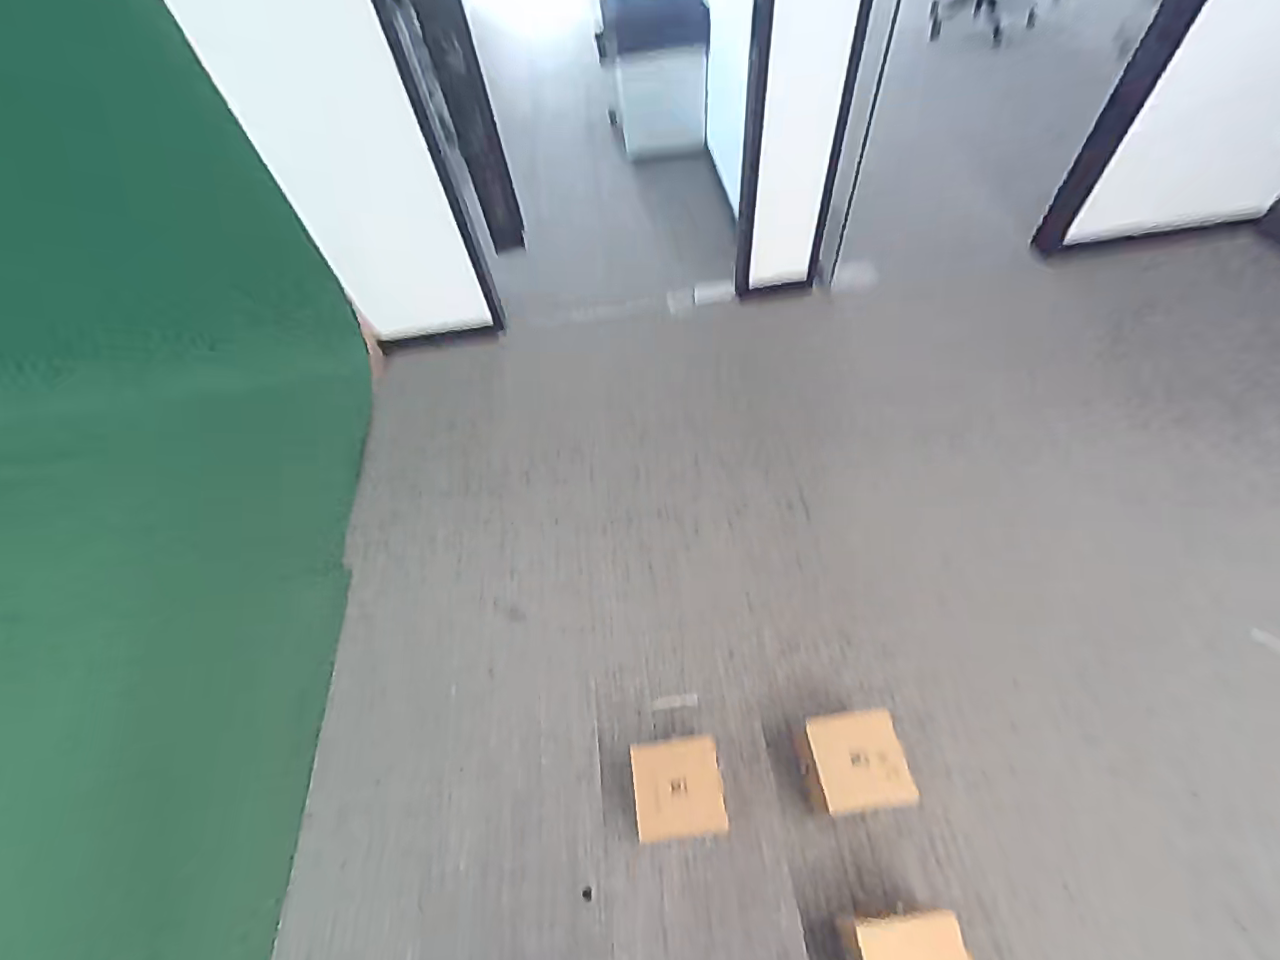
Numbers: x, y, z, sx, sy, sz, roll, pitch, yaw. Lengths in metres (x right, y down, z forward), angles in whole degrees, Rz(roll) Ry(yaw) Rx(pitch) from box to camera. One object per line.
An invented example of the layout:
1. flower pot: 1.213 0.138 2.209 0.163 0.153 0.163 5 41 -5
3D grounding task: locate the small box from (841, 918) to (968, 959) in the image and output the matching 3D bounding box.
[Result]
1. small box: 0.461 0.872 0.929 0.179 0.176 0.168 -8 54 -1

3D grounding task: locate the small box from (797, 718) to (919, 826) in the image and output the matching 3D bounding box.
1. small box: 0.434 0.606 1.116 0.179 0.176 0.168 -8 55 -1

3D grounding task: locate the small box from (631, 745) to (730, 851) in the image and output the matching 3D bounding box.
1. small box: 0.080 0.658 1.115 0.179 0.176 0.168 -7 54 1
